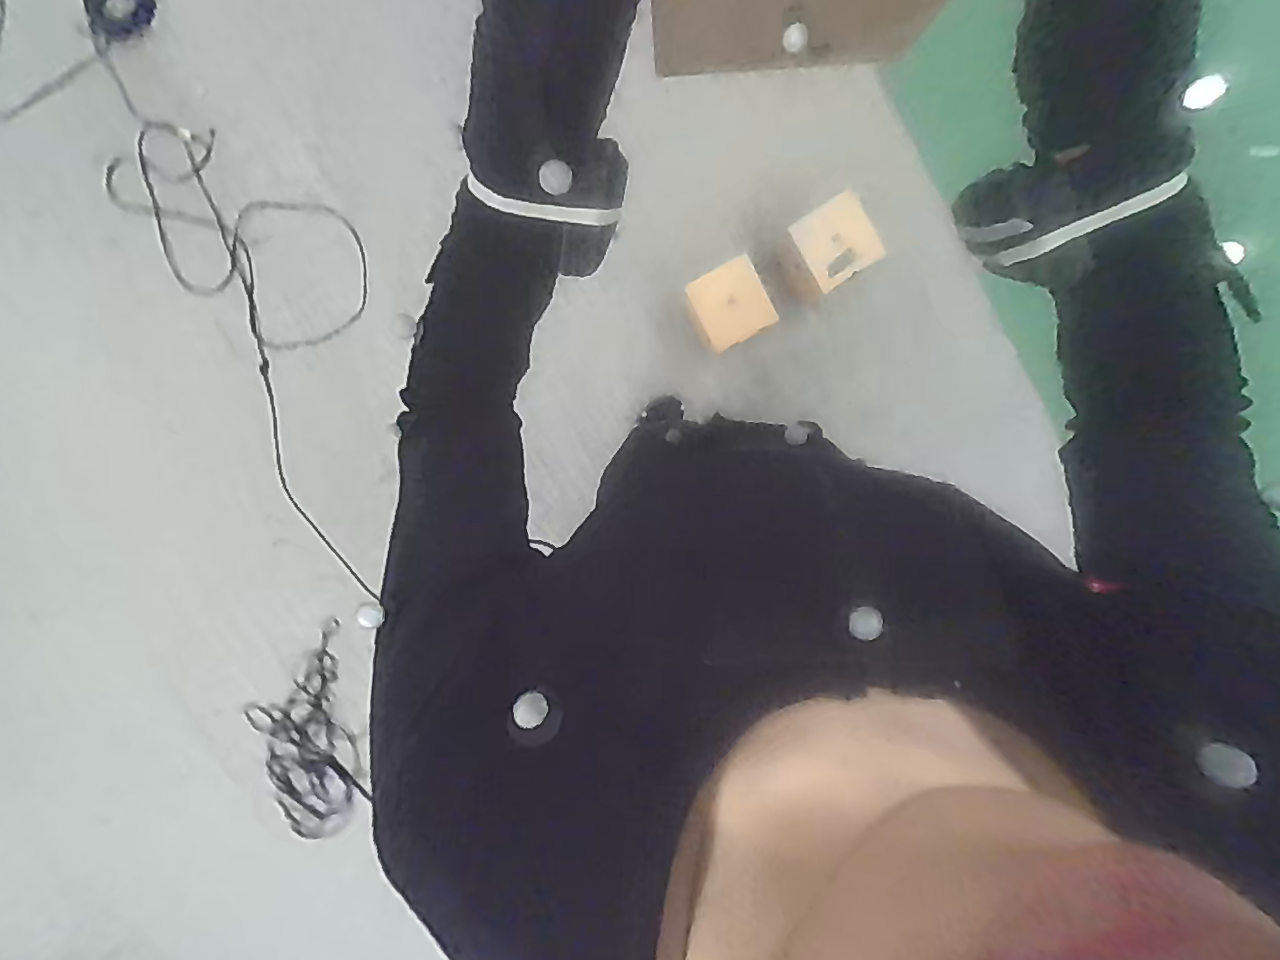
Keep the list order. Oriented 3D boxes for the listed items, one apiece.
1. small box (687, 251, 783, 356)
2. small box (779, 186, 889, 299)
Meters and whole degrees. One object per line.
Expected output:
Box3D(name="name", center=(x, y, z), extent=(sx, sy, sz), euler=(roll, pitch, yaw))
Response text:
Box3D(name="small box", center=(0.224, -0.423, 1.328), extent=(0.168, 0.176, 0.179), euler=(-28, 96, 6))
Box3D(name="small box", center=(0.456, -0.554, 1.296), extent=(0.168, 0.176, 0.179), euler=(-31, 94, 7))
